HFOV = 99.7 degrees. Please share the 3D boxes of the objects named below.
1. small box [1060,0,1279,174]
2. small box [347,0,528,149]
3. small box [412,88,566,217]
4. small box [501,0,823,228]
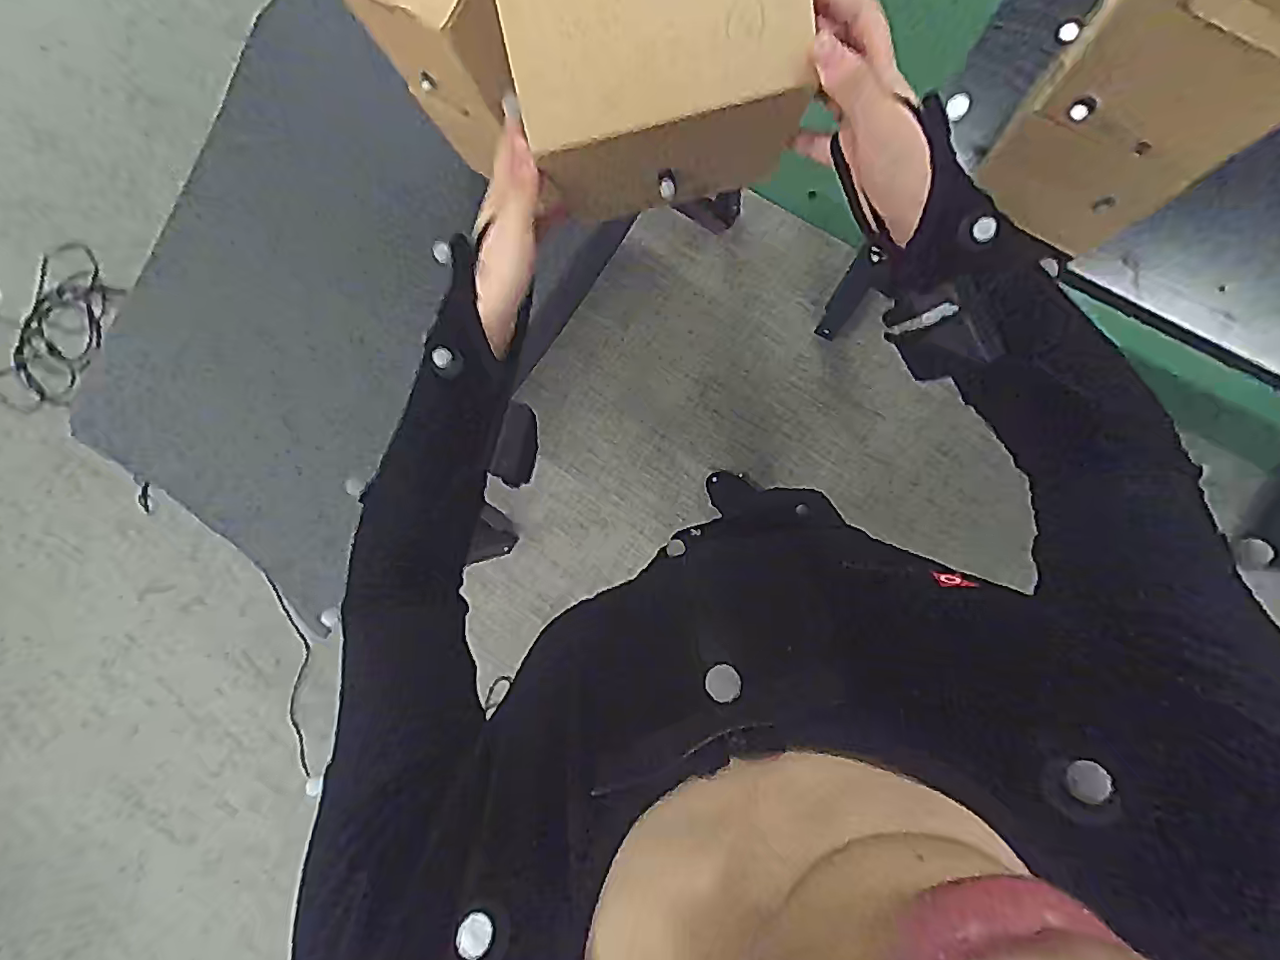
[{"bbox_3d":[0.522,-0.416,0.470,0.168,0.176,0.179,35,93,7],"label":"small box"},{"bbox_3d":[-0.184,-0.512,0.580,0.168,0.176,0.179,34,94,10],"label":"small box"},{"bbox_3d":[-0.161,-0.498,0.741,0.179,0.176,0.168,36,94,9],"label":"small box"},{"bbox_3d":[0.013,-0.286,0.364,0.168,0.176,0.179,-10,101,7],"label":"small box"}]
